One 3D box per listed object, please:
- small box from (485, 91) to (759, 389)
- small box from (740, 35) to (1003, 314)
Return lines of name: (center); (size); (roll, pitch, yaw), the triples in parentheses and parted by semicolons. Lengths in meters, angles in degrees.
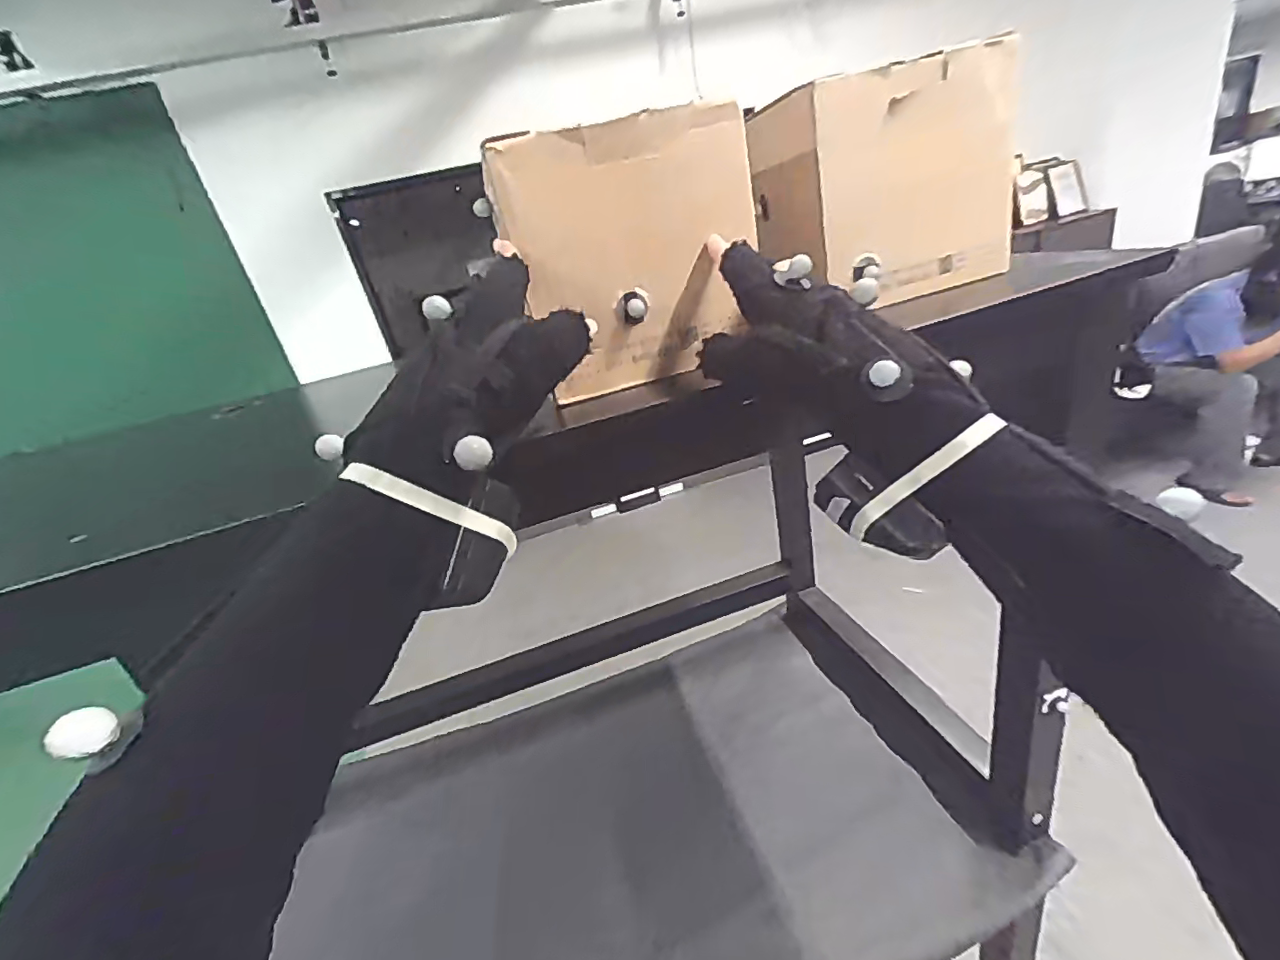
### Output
small box: (-0.019, -0.182, 0.442); (0.168, 0.176, 0.179); (-17, 24, -9)
small box: (0.192, -0.256, 0.494); (0.168, 0.176, 0.179); (-17, 22, -6)
